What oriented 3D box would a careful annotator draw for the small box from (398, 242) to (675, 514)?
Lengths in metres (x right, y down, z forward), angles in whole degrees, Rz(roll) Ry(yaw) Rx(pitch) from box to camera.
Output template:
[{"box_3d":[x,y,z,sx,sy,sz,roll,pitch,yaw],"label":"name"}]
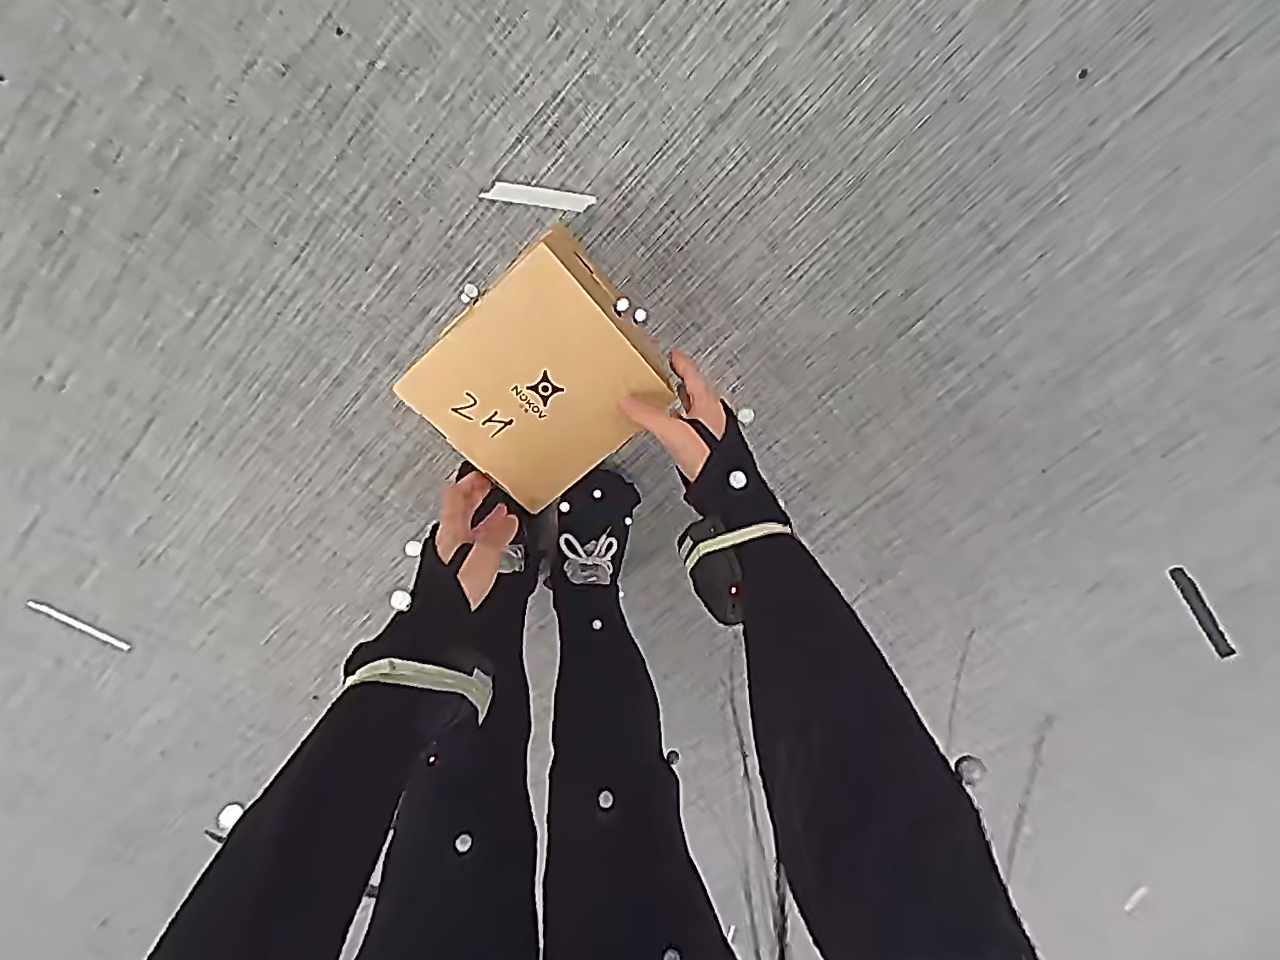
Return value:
[{"box_3d":[-0.092,-0.108,0.525,0.179,0.176,0.168,-38,114,14],"label":"small box"}]
